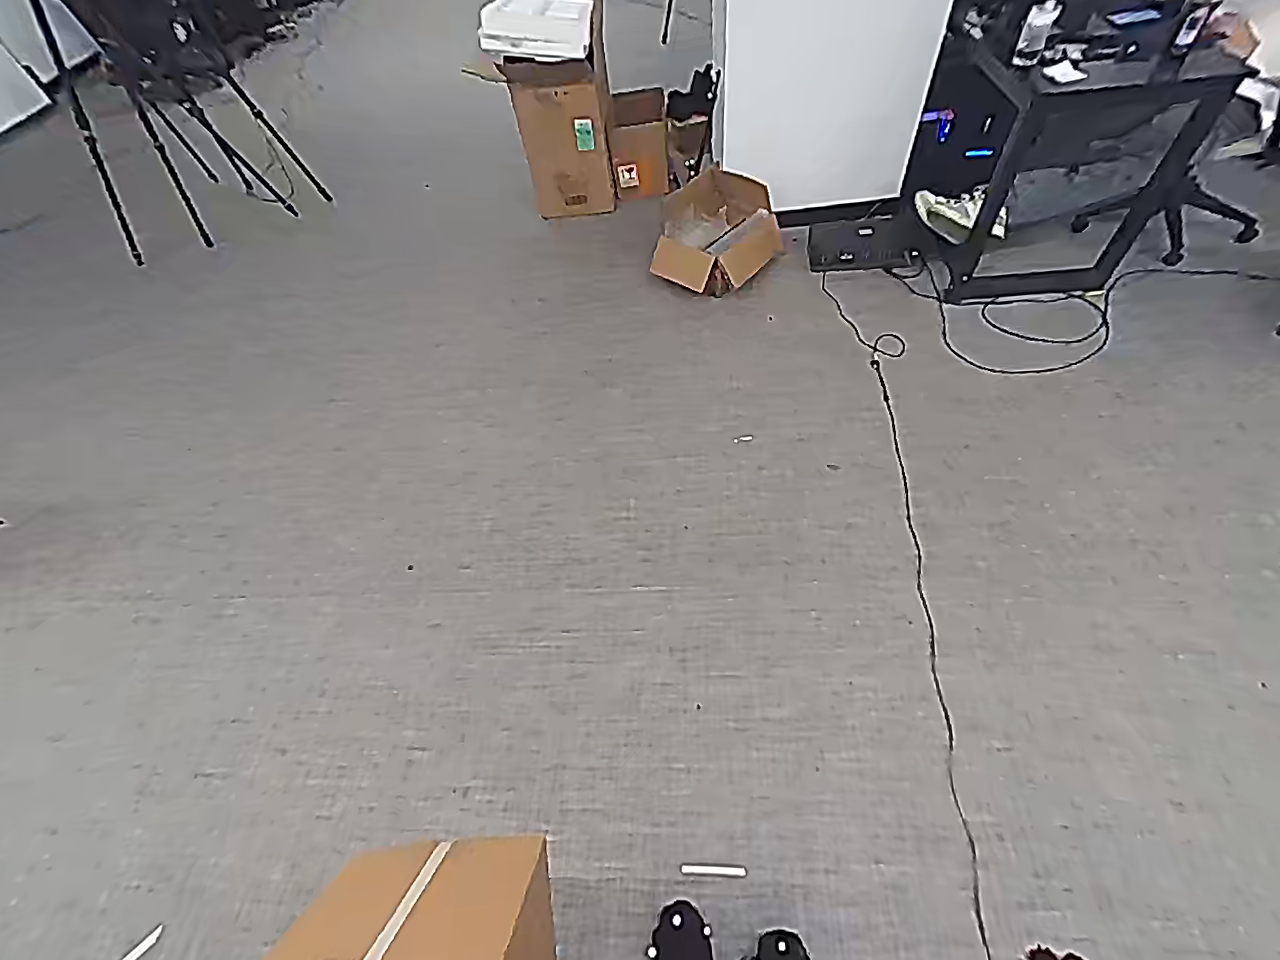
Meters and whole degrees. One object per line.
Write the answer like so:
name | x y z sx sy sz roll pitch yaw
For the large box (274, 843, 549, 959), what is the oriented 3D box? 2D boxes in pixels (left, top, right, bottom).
large box | -0.299 0.742 0.677 0.320 0.408 0.320 -7 87 2
